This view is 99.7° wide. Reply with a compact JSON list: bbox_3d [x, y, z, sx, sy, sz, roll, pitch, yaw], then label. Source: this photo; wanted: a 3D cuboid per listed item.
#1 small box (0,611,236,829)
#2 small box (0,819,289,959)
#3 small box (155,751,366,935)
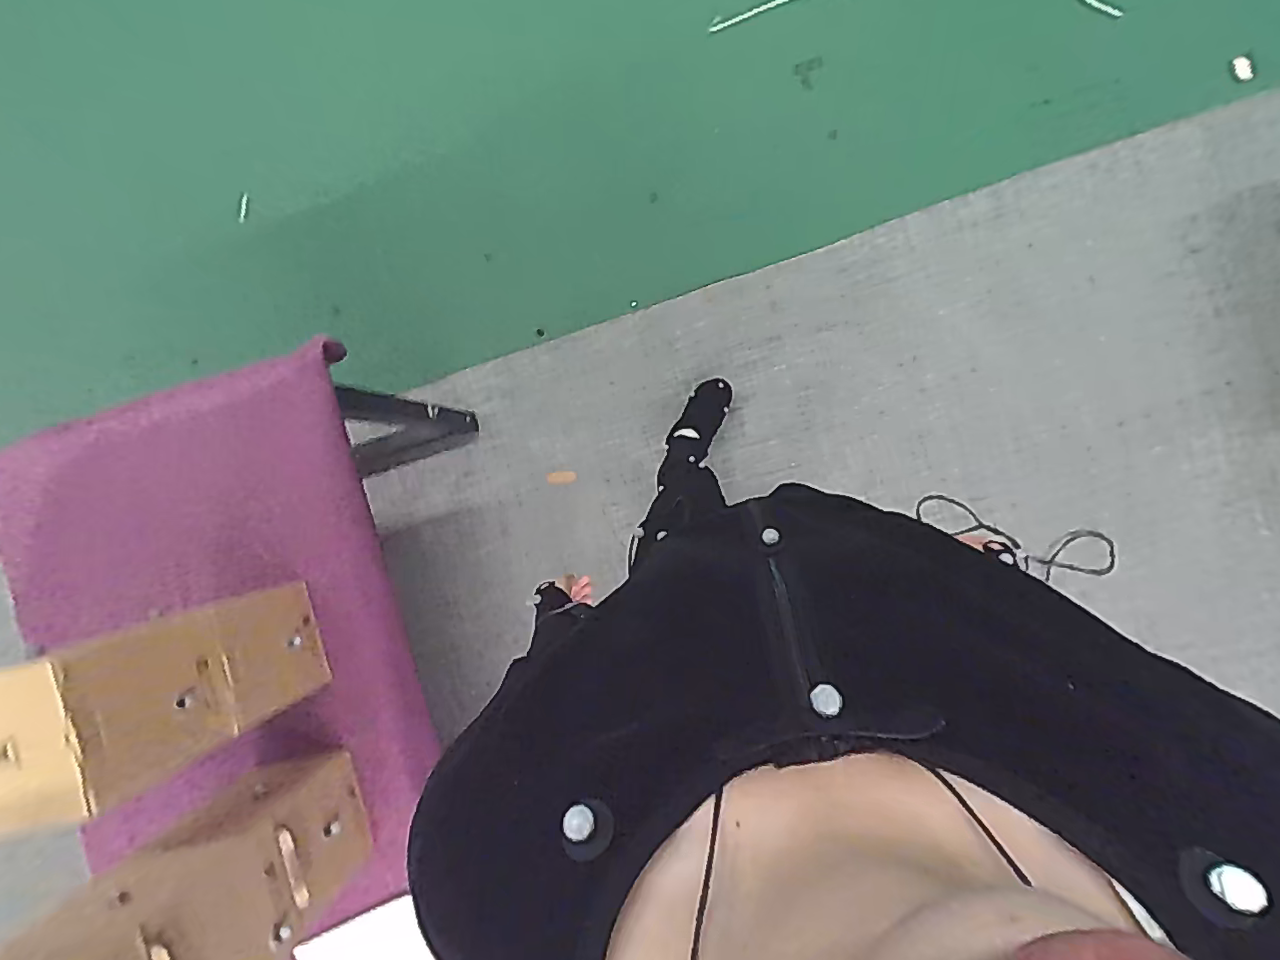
[{"bbox_3d":[-0.626,0.267,0.625,0.179,0.176,0.168,-15,90,8],"label":"small box"},{"bbox_3d":[-0.544,0.527,0.622,0.179,0.176,0.168,-15,90,8],"label":"small box"},{"bbox_3d":[-0.531,0.524,0.786,0.179,0.176,0.168,-15,89,6],"label":"small box"}]
